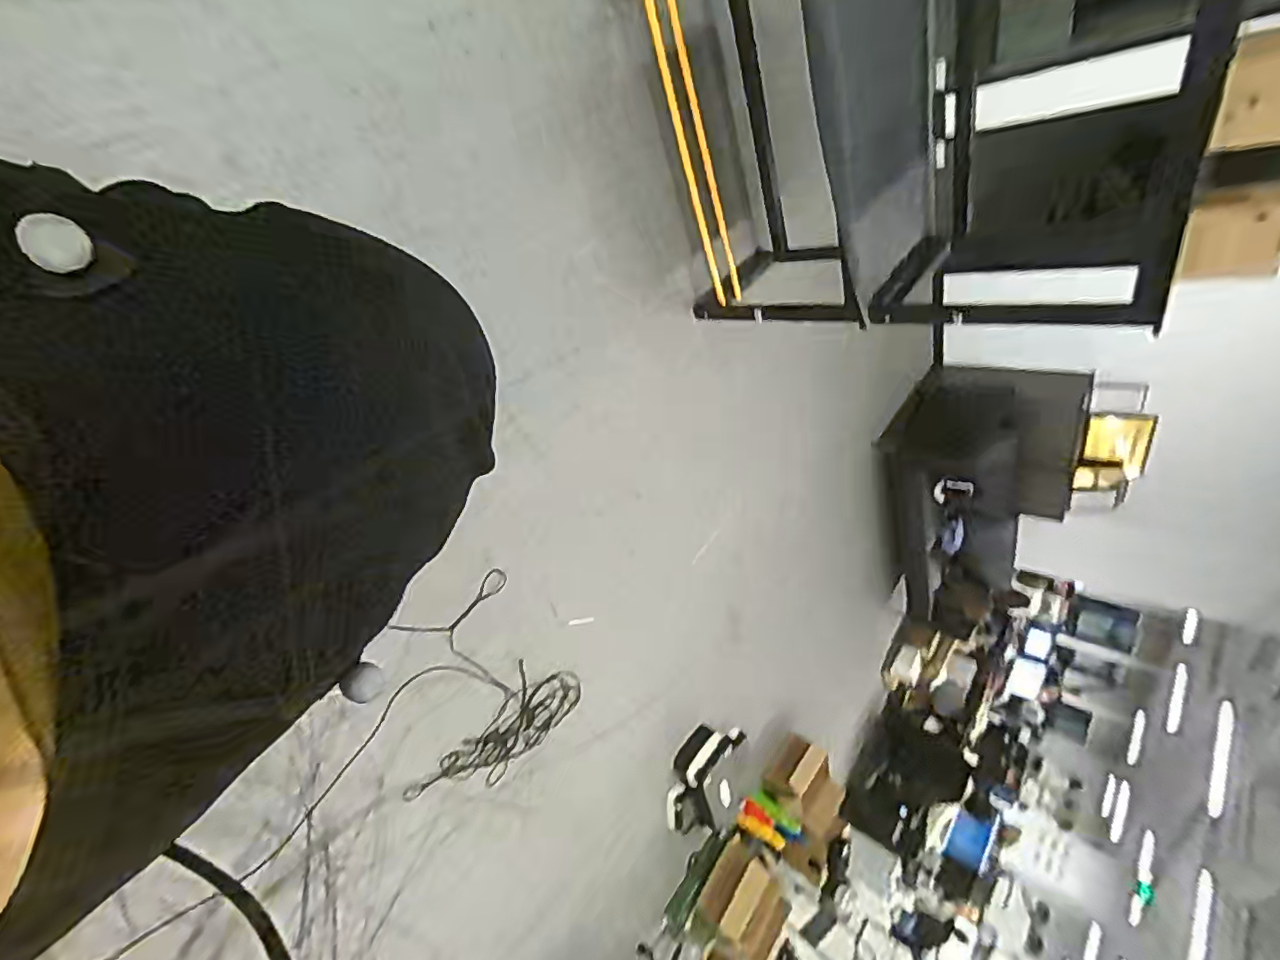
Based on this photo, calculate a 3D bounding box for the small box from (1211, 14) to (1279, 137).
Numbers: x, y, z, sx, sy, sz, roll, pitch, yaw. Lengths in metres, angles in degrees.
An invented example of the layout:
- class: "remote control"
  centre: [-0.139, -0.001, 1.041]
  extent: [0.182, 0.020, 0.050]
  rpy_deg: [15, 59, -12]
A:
- class: "small box"
  centre: [1.300, -0.828, 1.089]
  extent: [0.179, 0.176, 0.168]
  rpy_deg: [-50, 133, -24]
